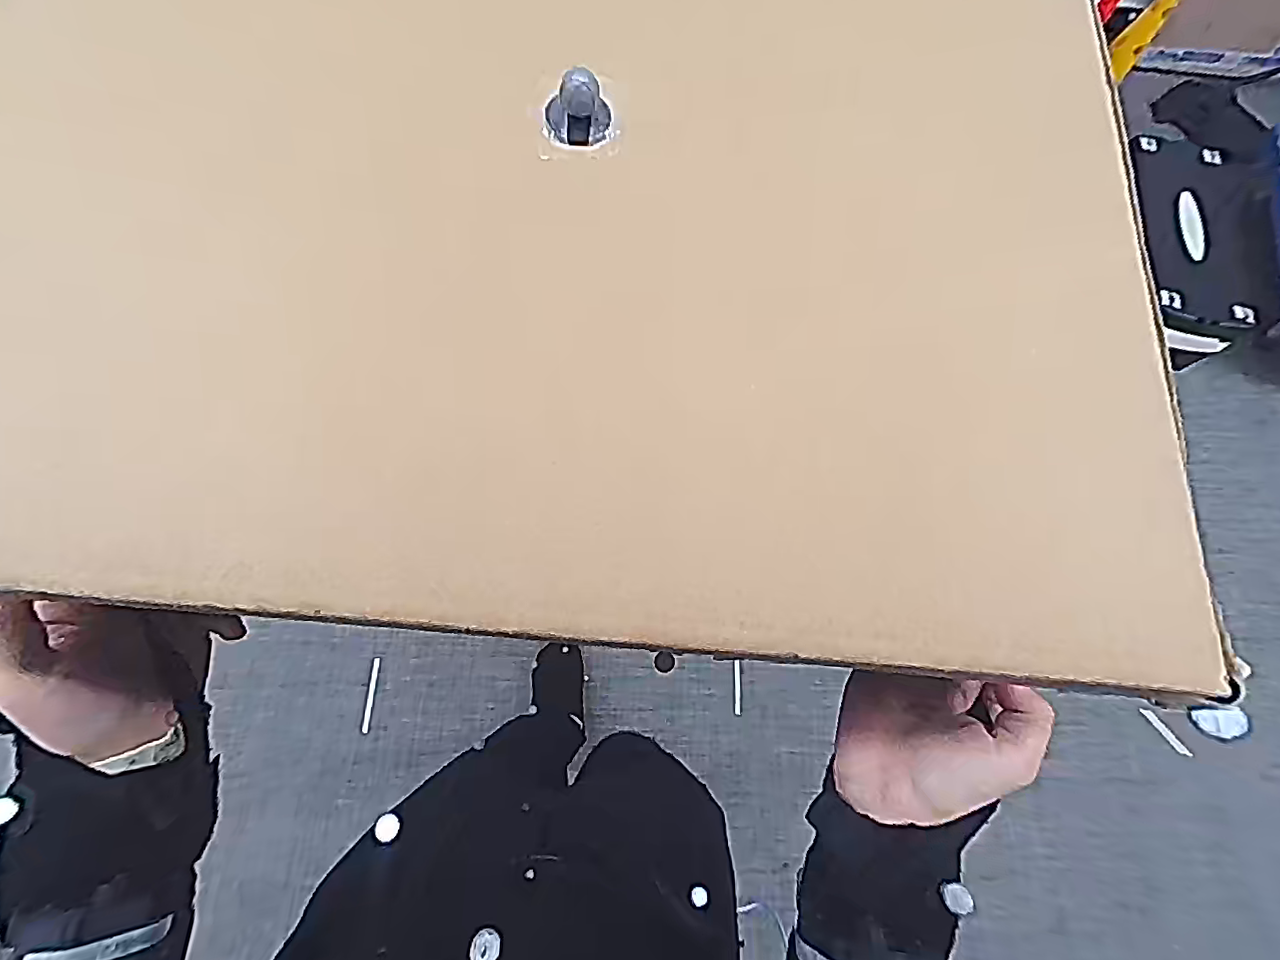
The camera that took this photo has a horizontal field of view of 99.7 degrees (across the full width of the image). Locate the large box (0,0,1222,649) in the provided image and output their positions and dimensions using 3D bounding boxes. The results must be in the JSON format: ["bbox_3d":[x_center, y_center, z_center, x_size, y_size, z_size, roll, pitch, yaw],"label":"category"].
[{"bbox_3d":[-0.034,-0.081,0.325,0.408,0.320,0.320,6,76,-3],"label":"large box"}]
